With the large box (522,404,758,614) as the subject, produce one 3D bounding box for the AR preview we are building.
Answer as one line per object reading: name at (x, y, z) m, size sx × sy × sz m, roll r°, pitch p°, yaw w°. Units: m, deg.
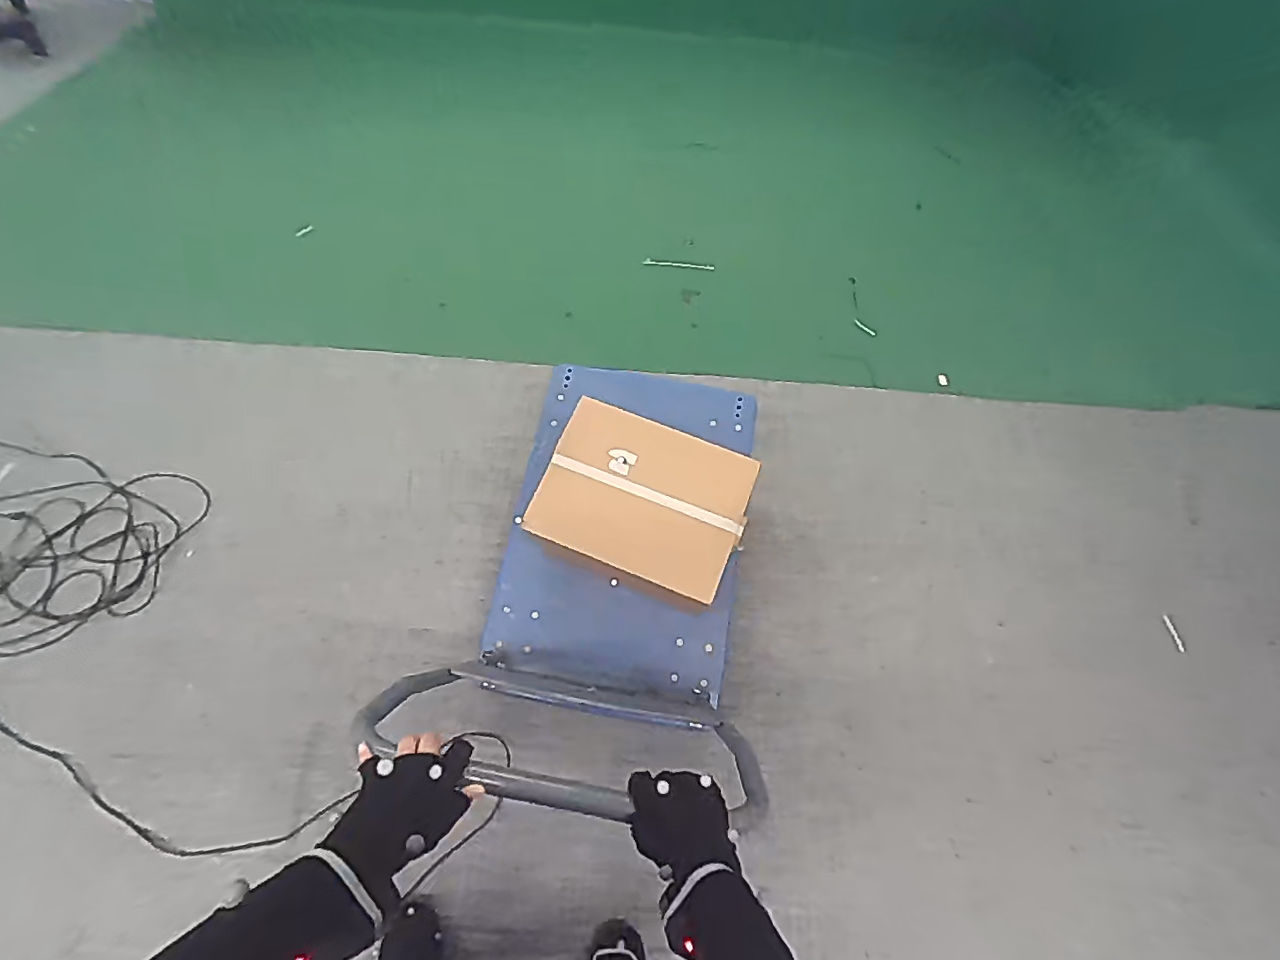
large box at (0.008, 0.084, 1.226) m, size 0.408 × 0.320 × 0.320 m, roll 21°, pitch 73°, yaw 7°
